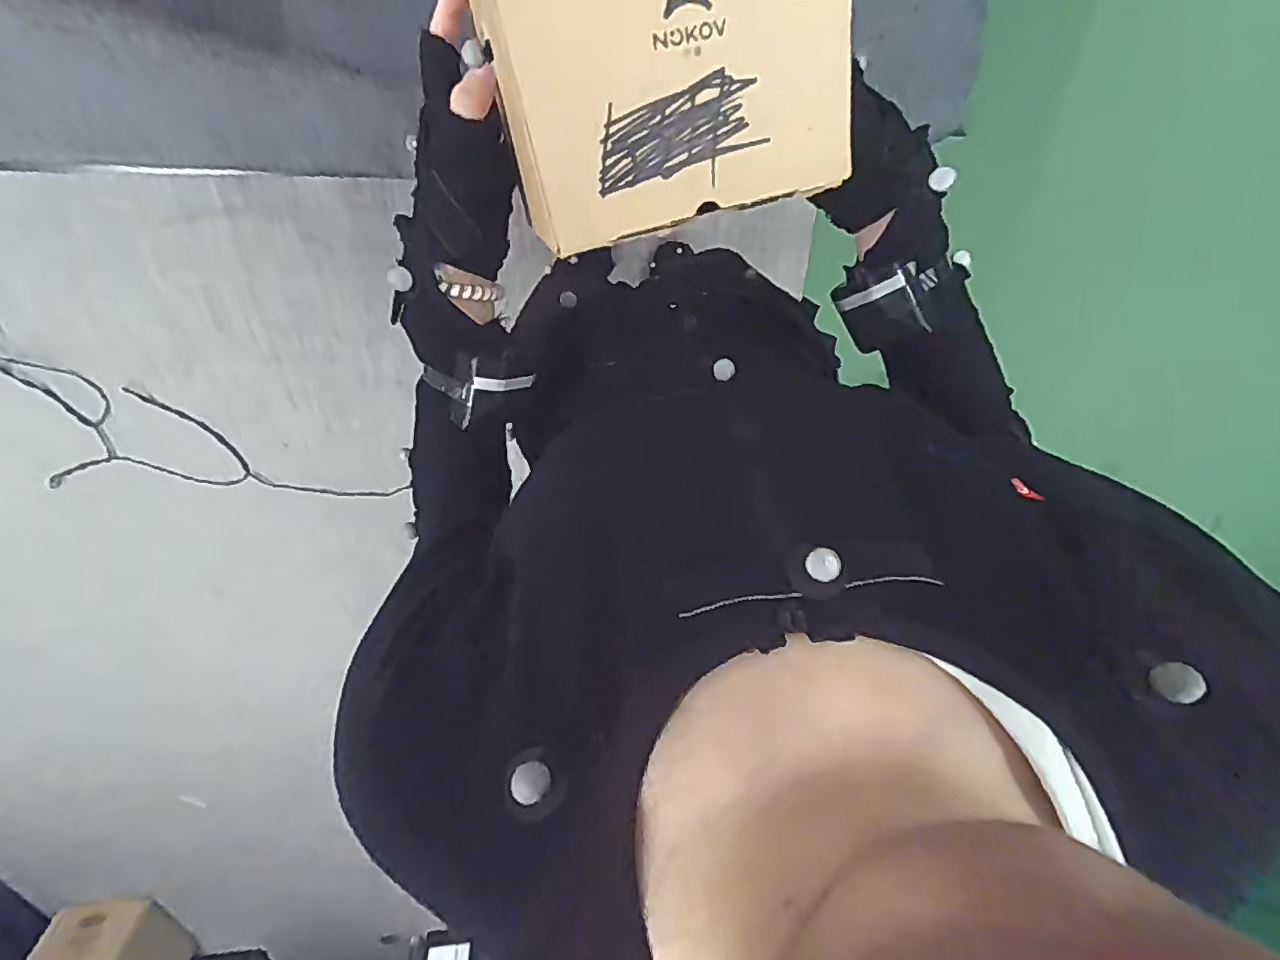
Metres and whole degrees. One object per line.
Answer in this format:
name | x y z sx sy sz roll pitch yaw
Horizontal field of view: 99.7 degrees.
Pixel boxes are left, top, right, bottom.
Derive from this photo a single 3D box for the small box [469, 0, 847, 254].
small box | -0.002 -0.249 0.308 0.168 0.176 0.179 -18 122 -7
